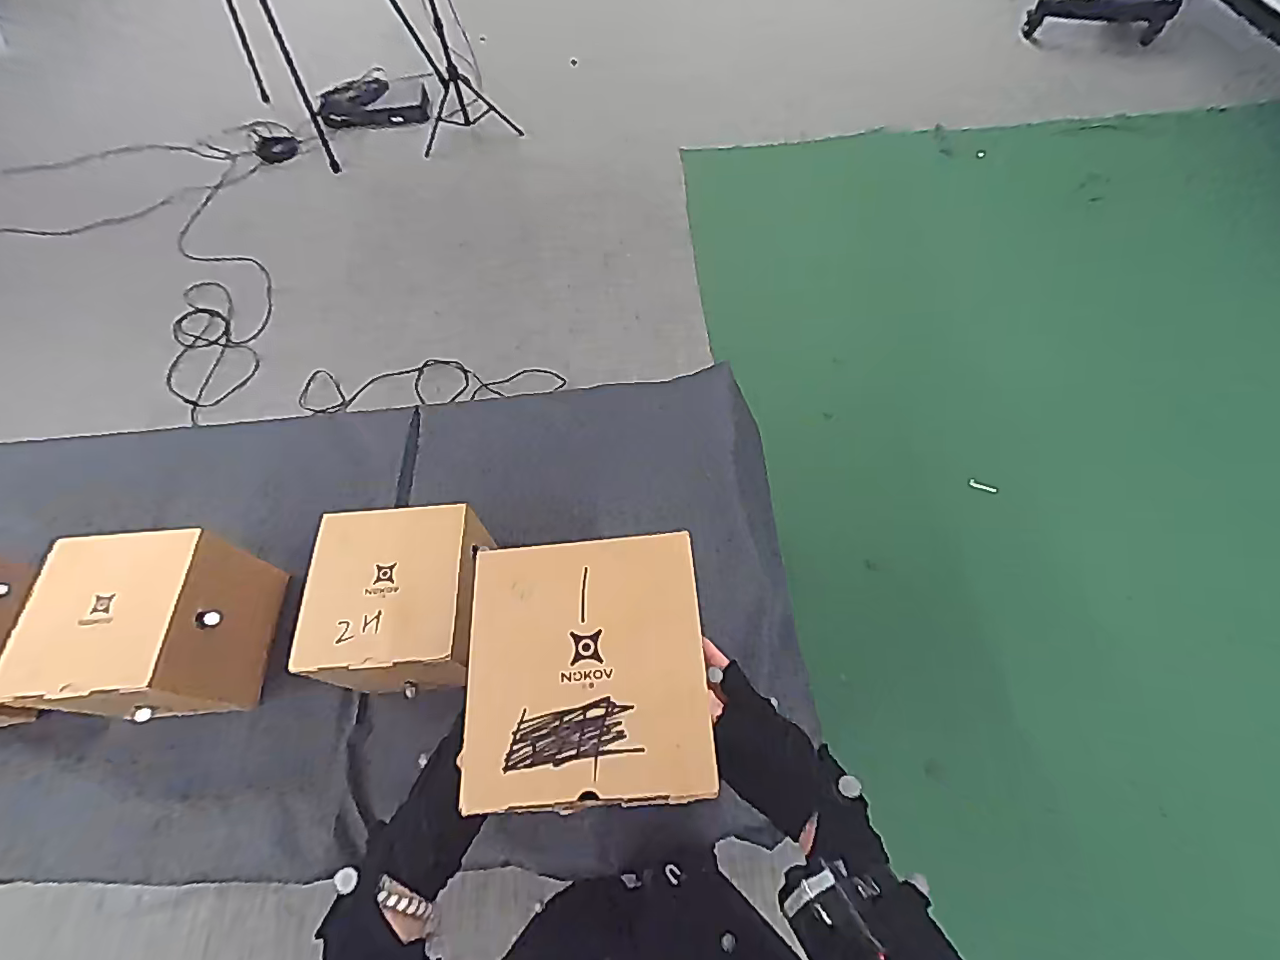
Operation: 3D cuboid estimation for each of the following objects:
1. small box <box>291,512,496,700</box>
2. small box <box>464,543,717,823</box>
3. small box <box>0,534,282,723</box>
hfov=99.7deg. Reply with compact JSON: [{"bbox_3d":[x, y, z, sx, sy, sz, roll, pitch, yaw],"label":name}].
[{"bbox_3d":[-0.266,0.154,0.642,0.168,0.176,0.179,-4,61,0],"label":"small box"},{"bbox_3d":[-0.028,0.166,0.444,0.168,0.176,0.179,-5,63,2],"label":"small box"},{"bbox_3d":[-0.563,0.180,0.637,0.168,0.176,0.179,-4,62,-1],"label":"small box"}]
